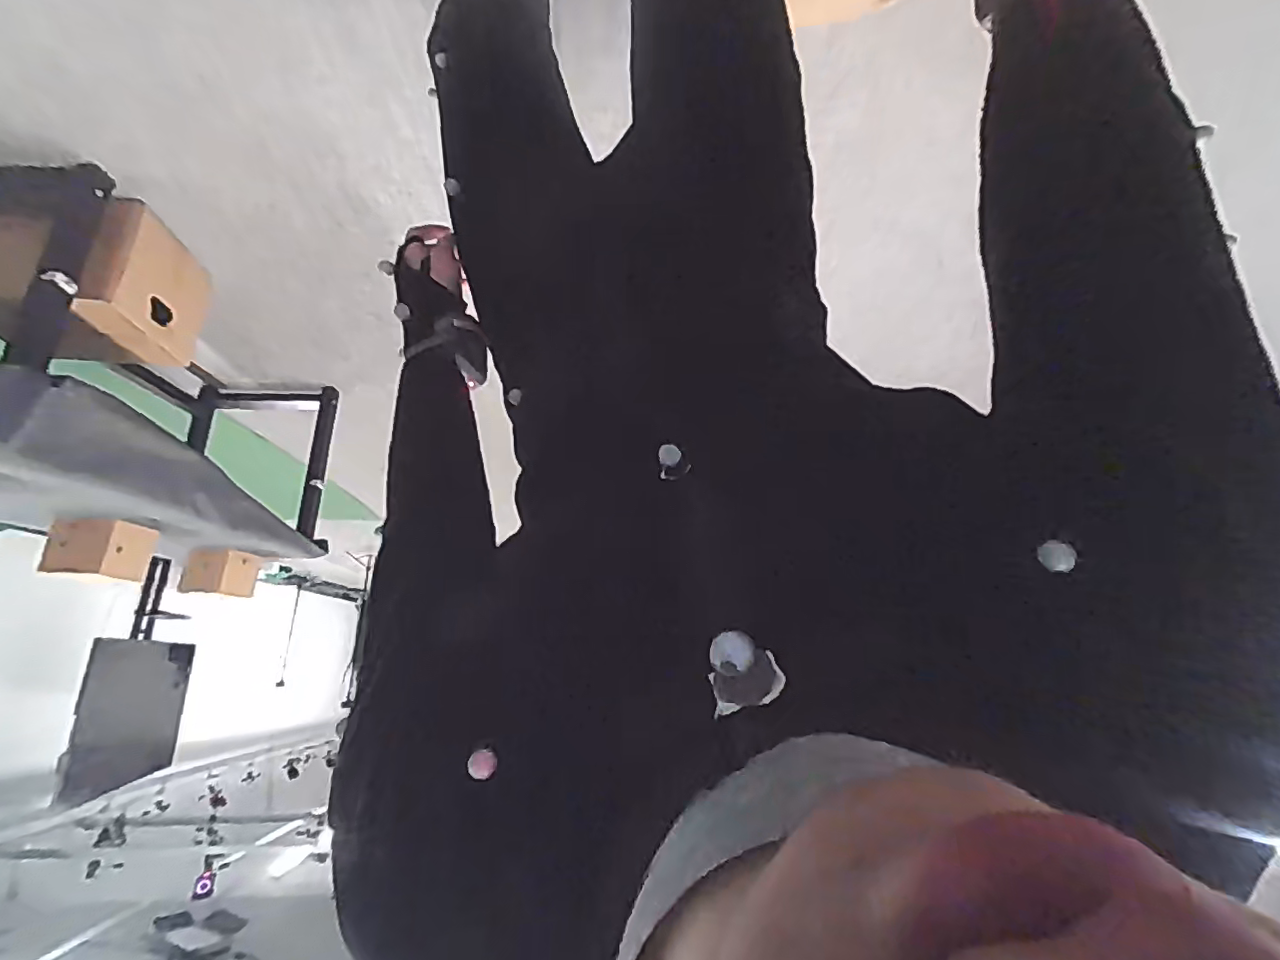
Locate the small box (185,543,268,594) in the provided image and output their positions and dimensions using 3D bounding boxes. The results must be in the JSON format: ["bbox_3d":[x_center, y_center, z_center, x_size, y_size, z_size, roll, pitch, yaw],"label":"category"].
[{"bbox_3d":[-1.572,0.338,2.064,0.168,0.176,0.179,0,161,3],"label":"small box"}]

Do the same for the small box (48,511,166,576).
[{"bbox_3d":[-1.591,0.194,1.625,0.168,0.176,0.179,3,163,-4],"label":"small box"}]
